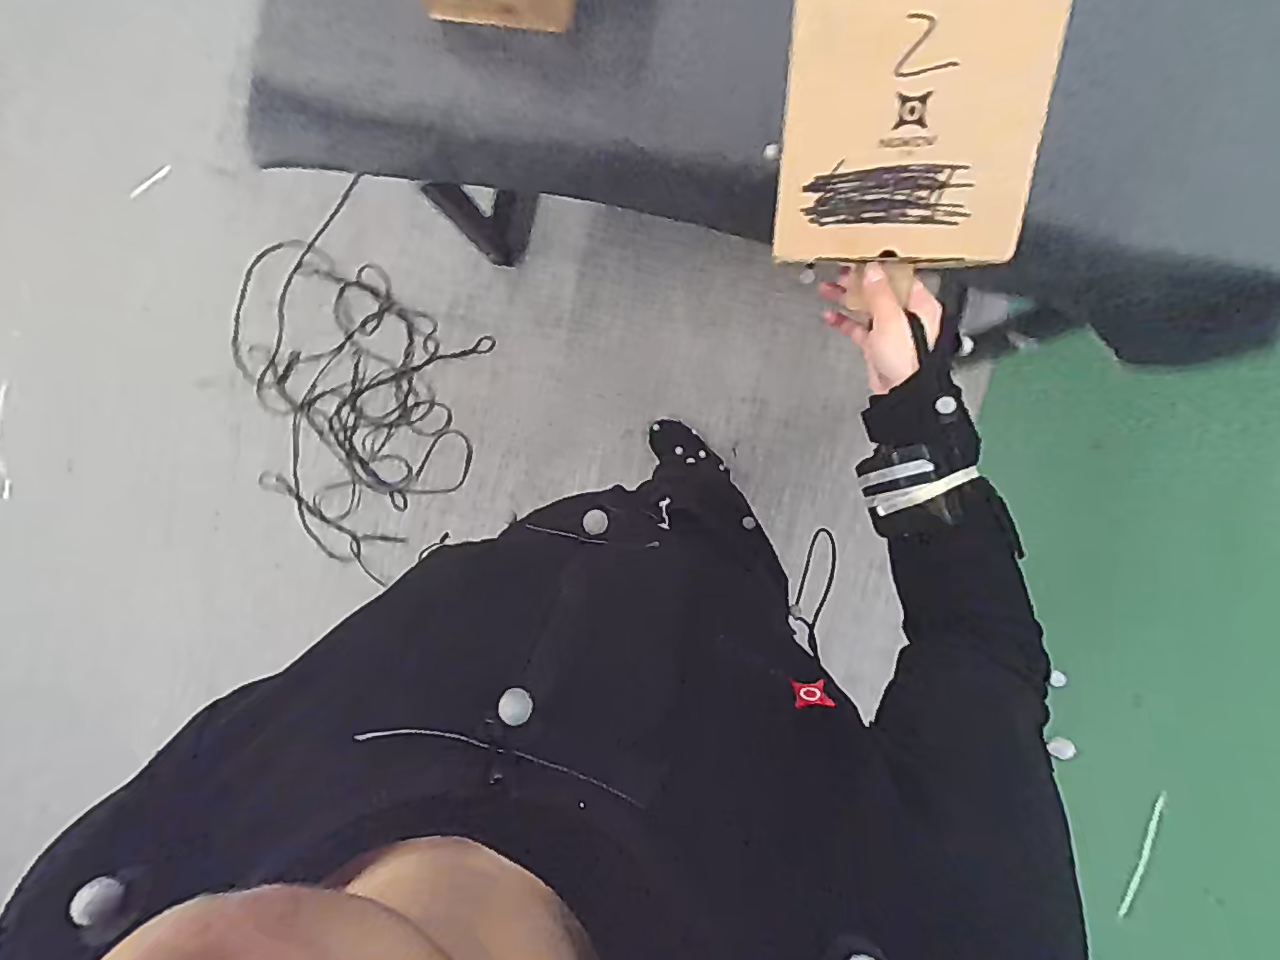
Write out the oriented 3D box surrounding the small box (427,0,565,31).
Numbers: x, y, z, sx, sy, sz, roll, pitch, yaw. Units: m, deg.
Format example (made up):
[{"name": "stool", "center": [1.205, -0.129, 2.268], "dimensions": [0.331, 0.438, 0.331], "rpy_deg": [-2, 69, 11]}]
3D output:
[{"name": "small box", "center": [-0.161, -0.610, 0.540], "dimensions": [0.168, 0.176, 0.179], "rpy_deg": [9, 93, 3]}]
